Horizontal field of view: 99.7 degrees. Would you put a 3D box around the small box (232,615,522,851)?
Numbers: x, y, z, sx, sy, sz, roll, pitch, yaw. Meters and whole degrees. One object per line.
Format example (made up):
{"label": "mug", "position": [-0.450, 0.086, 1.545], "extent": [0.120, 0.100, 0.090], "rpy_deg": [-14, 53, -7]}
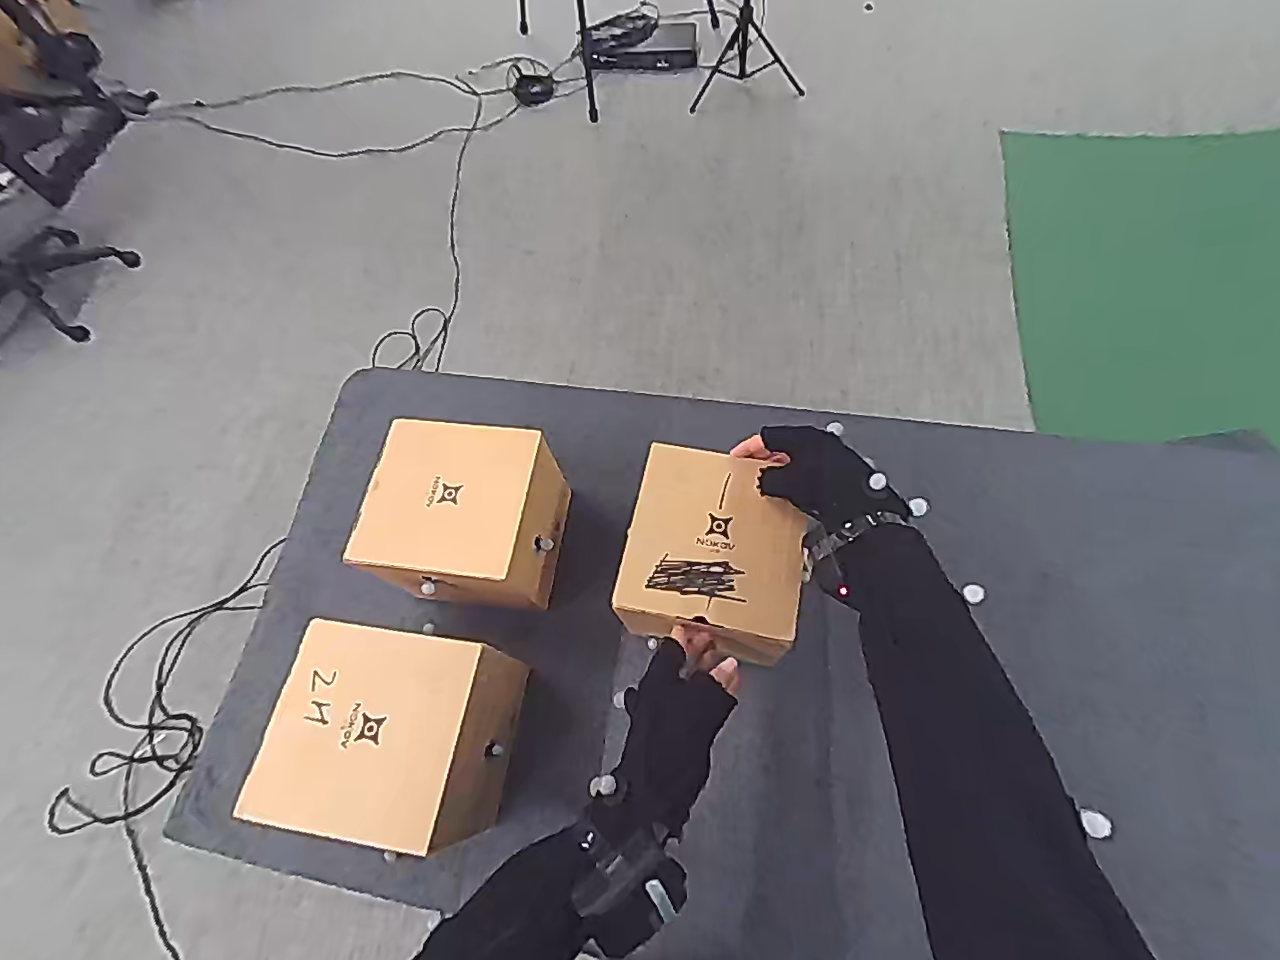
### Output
{"label": "small box", "position": [-0.234, 0.242, 0.538], "extent": [0.179, 0.176, 0.168], "rpy_deg": [6, 65, 8]}

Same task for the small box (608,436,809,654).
{"label": "small box", "position": [0.076, 0.078, 0.583], "extent": [0.168, 0.176, 0.179], "rpy_deg": [10, 67, 10]}
